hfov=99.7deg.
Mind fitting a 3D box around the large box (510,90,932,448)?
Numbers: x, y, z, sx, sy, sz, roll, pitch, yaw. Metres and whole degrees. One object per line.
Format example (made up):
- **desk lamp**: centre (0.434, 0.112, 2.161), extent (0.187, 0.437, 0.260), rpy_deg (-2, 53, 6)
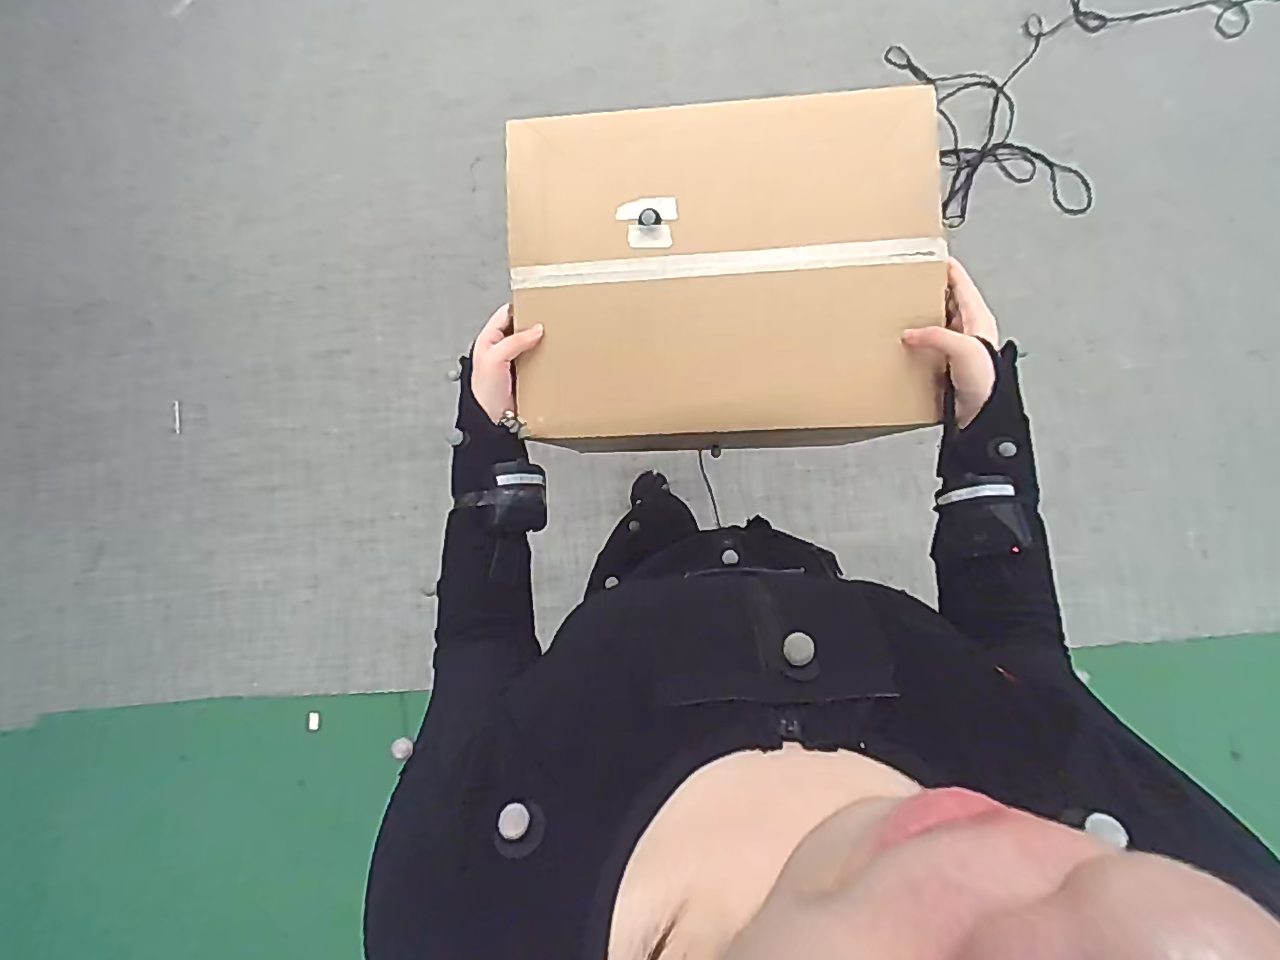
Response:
- **large box**: centre (0.089, -0.206, 0.675), extent (0.408, 0.320, 0.320), rpy_deg (-2, 90, 6)
